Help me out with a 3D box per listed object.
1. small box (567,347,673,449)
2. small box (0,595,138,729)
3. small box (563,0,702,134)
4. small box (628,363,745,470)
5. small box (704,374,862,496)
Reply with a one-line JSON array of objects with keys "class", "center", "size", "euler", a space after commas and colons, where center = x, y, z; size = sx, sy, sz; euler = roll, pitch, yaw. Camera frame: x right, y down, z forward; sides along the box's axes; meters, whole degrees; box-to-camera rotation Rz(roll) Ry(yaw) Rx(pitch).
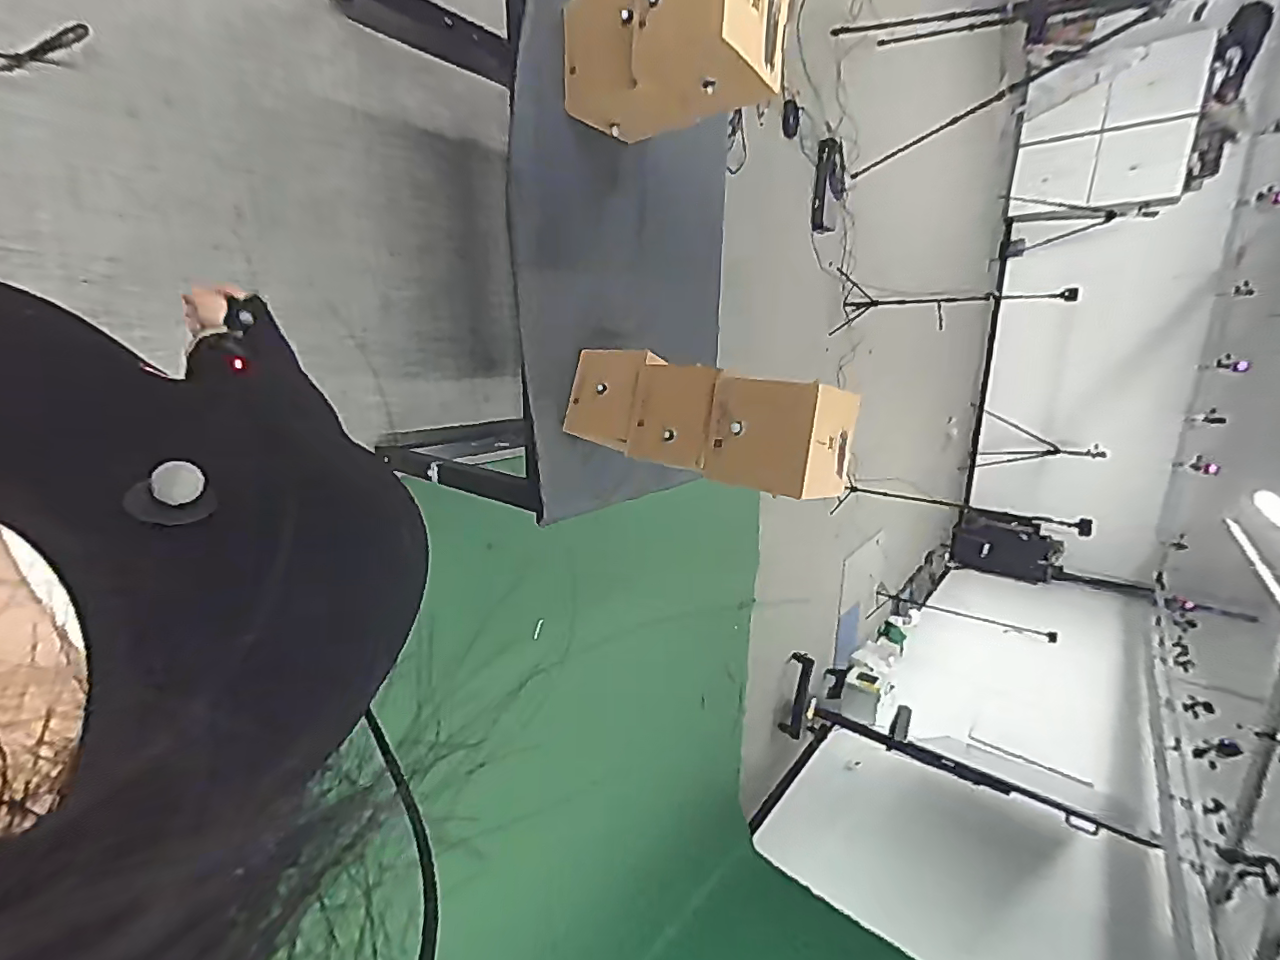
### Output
[{"class": "small box", "center": [-0.017, -0.151, 1.055], "size": [0.179, 0.176, 0.168], "euler": [16, 86, -53]}, {"class": "small box", "center": [-1.115, 0.334, 1.016], "size": [0.168, 0.176, 0.179], "euler": [-59, 138, -22]}, {"class": "small box", "center": [-0.012, -0.720, 0.927], "size": [0.179, 0.176, 0.168], "euler": [-15, 111, -49]}, {"class": "small box", "center": [0.102, -0.106, 0.952], "size": [0.179, 0.176, 0.168], "euler": [8, 94, -53]}, {"class": "small box", "center": [0.224, -0.072, 0.847], "size": [0.179, 0.176, 0.168], "euler": [-1, 101, -51]}]
